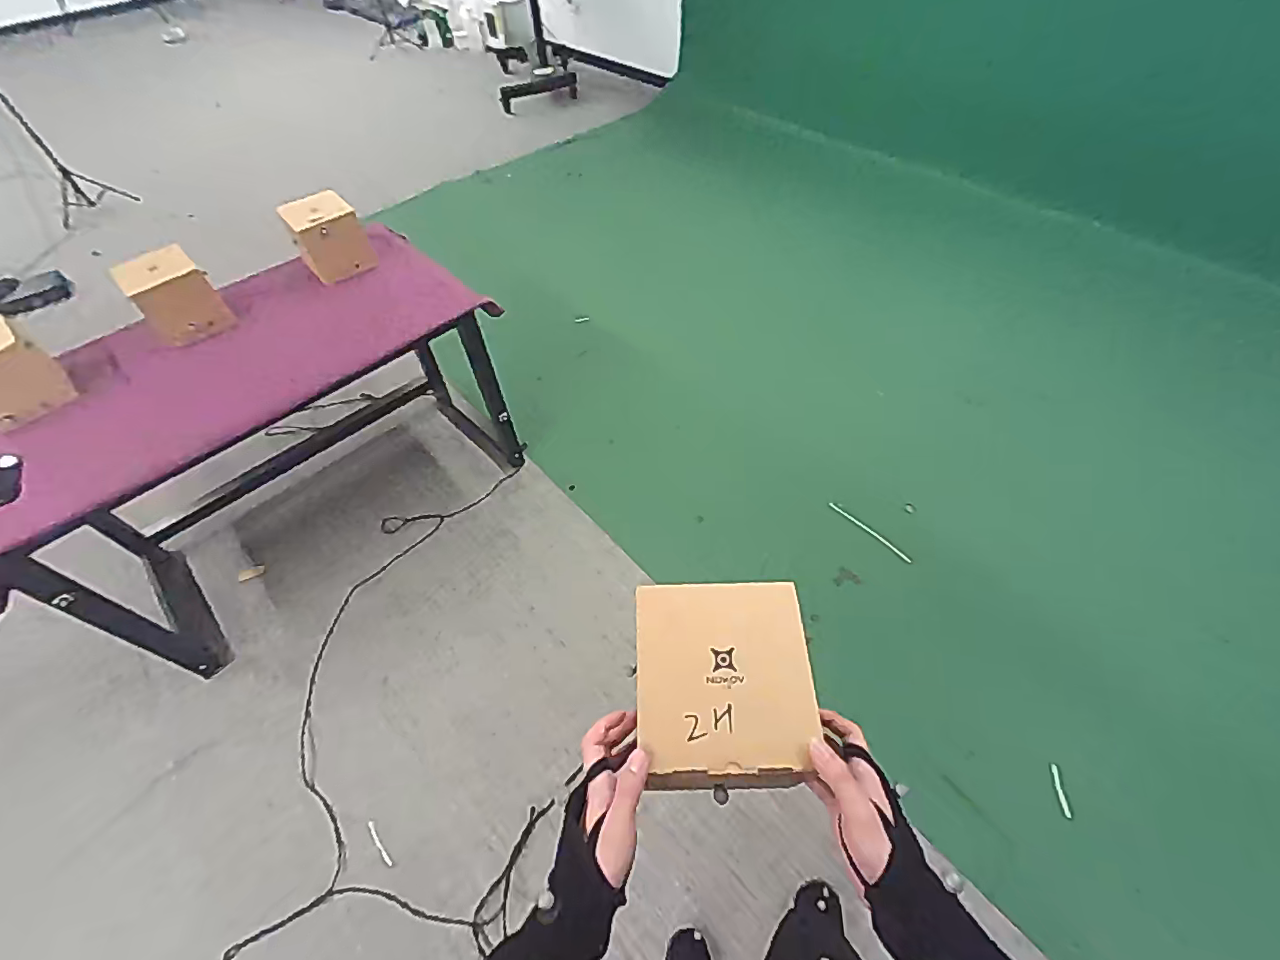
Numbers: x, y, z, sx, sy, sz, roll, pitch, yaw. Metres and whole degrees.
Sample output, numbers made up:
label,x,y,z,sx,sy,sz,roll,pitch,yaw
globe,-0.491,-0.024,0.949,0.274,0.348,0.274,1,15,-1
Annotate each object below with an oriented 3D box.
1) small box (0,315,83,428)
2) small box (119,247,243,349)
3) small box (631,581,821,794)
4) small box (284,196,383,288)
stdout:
label,x,y,z,sx,sy,sz,roll,pitch,yaw
small box,-1.468,-0.246,1.257,0.179,0.176,0.168,35,61,27
small box,-1.204,-0.477,1.426,0.168,0.176,0.179,-38,60,-23
small box,0.075,0.223,0.573,0.168,0.176,0.179,-1,55,1
small box,-0.888,-0.692,1.578,0.168,0.176,0.179,-35,58,-21
